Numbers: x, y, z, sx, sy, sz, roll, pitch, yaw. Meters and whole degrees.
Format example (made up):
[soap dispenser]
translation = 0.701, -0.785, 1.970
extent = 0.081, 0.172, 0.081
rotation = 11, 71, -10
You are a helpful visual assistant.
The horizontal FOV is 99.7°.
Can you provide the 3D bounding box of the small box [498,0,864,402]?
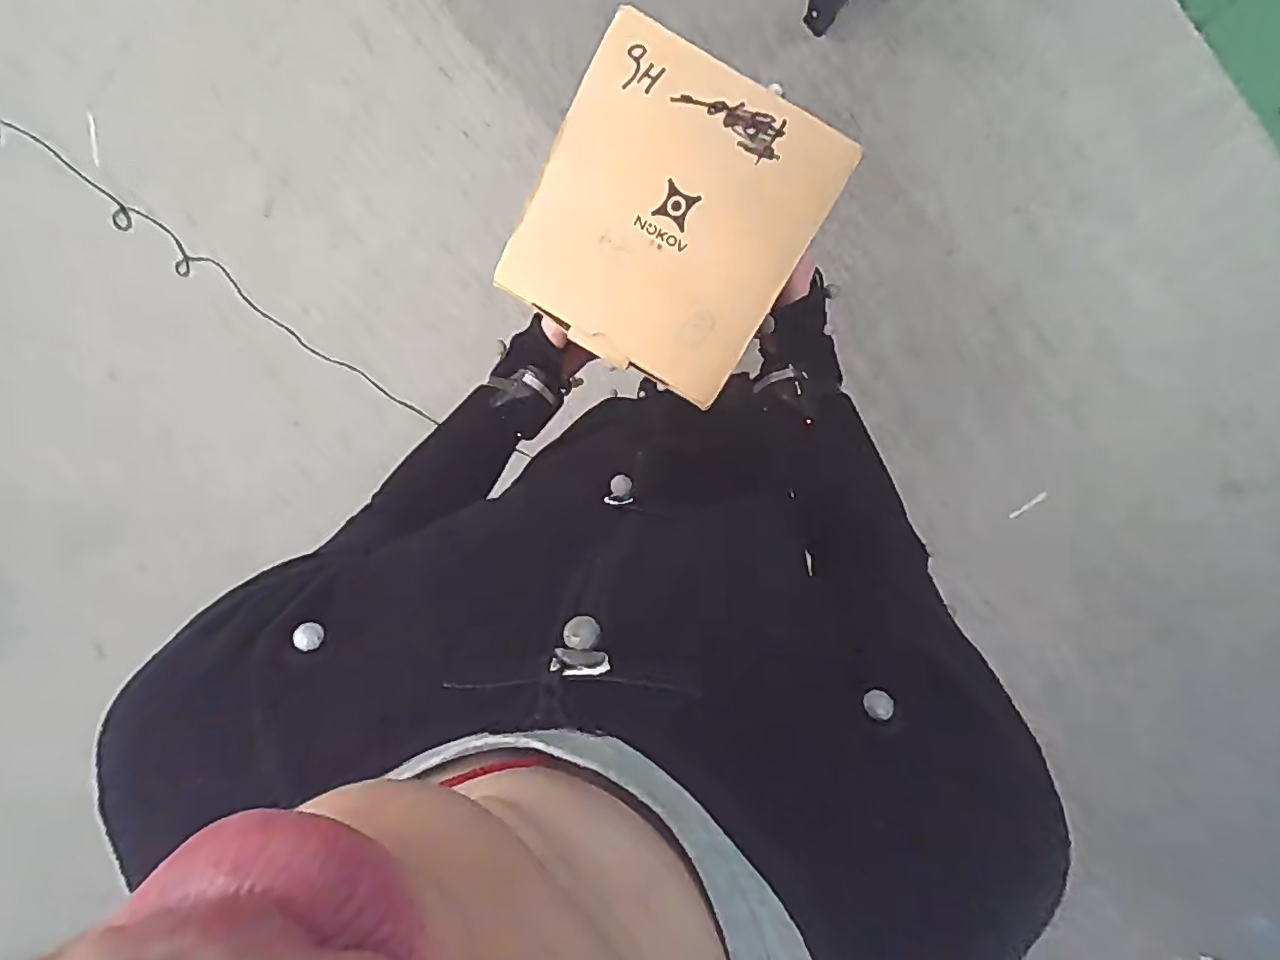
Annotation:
[small box]
translation = 0.028, -0.179, 0.405
extent = 0.168, 0.176, 0.179
rotation = 31, 104, -1
